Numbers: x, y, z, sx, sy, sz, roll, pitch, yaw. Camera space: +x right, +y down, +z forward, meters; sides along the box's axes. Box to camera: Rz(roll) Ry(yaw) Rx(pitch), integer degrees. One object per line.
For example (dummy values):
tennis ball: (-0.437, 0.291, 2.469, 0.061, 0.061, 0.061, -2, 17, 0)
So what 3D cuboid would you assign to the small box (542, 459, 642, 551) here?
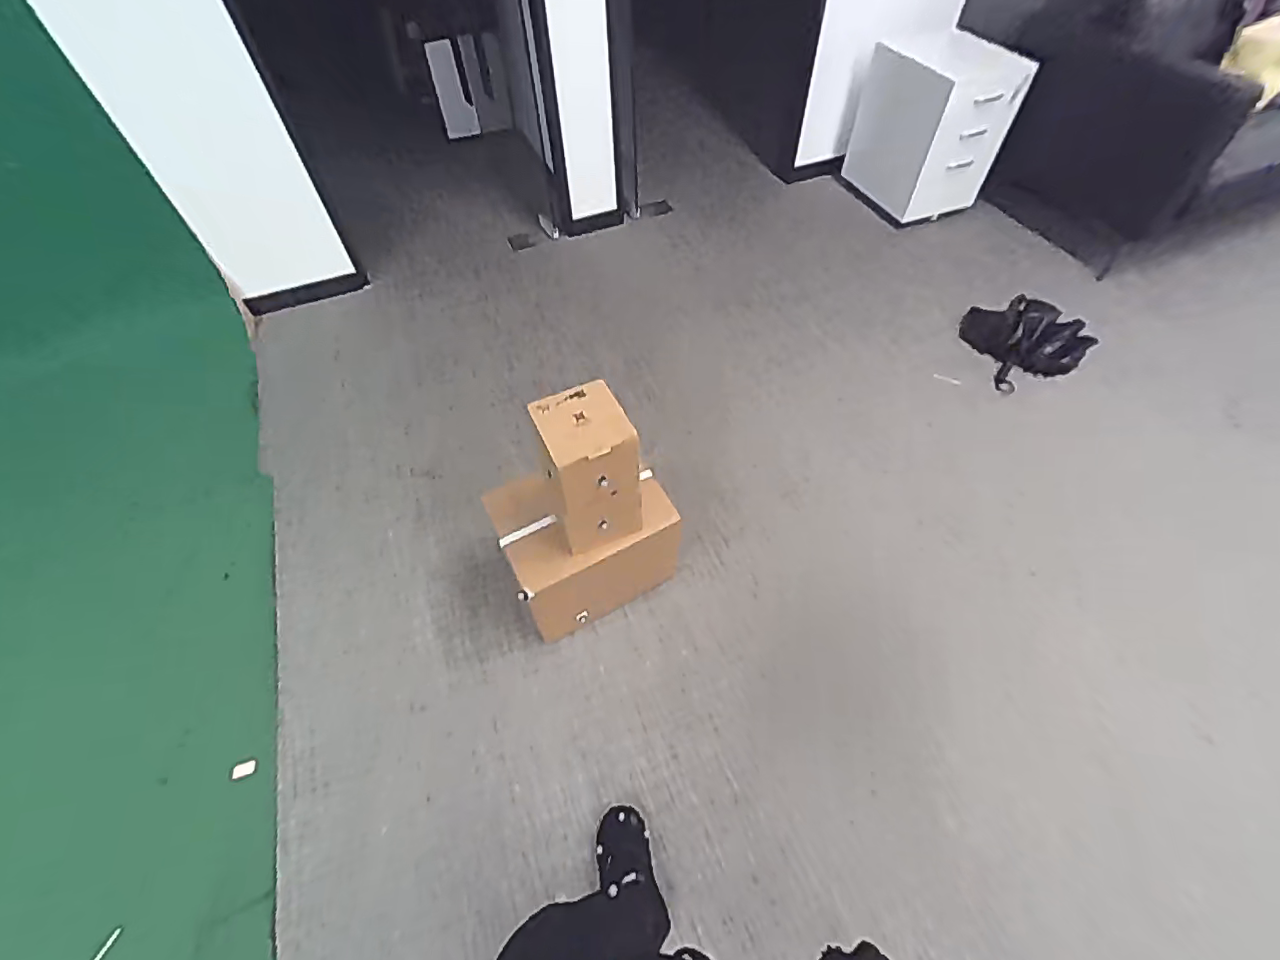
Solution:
small box: (-0.106, 0.033, 1.225, 0.179, 0.176, 0.168, -21, 57, -12)

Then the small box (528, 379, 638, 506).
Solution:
small box: (-0.110, -0.068, 1.096, 0.168, 0.176, 0.179, -22, 58, -14)
